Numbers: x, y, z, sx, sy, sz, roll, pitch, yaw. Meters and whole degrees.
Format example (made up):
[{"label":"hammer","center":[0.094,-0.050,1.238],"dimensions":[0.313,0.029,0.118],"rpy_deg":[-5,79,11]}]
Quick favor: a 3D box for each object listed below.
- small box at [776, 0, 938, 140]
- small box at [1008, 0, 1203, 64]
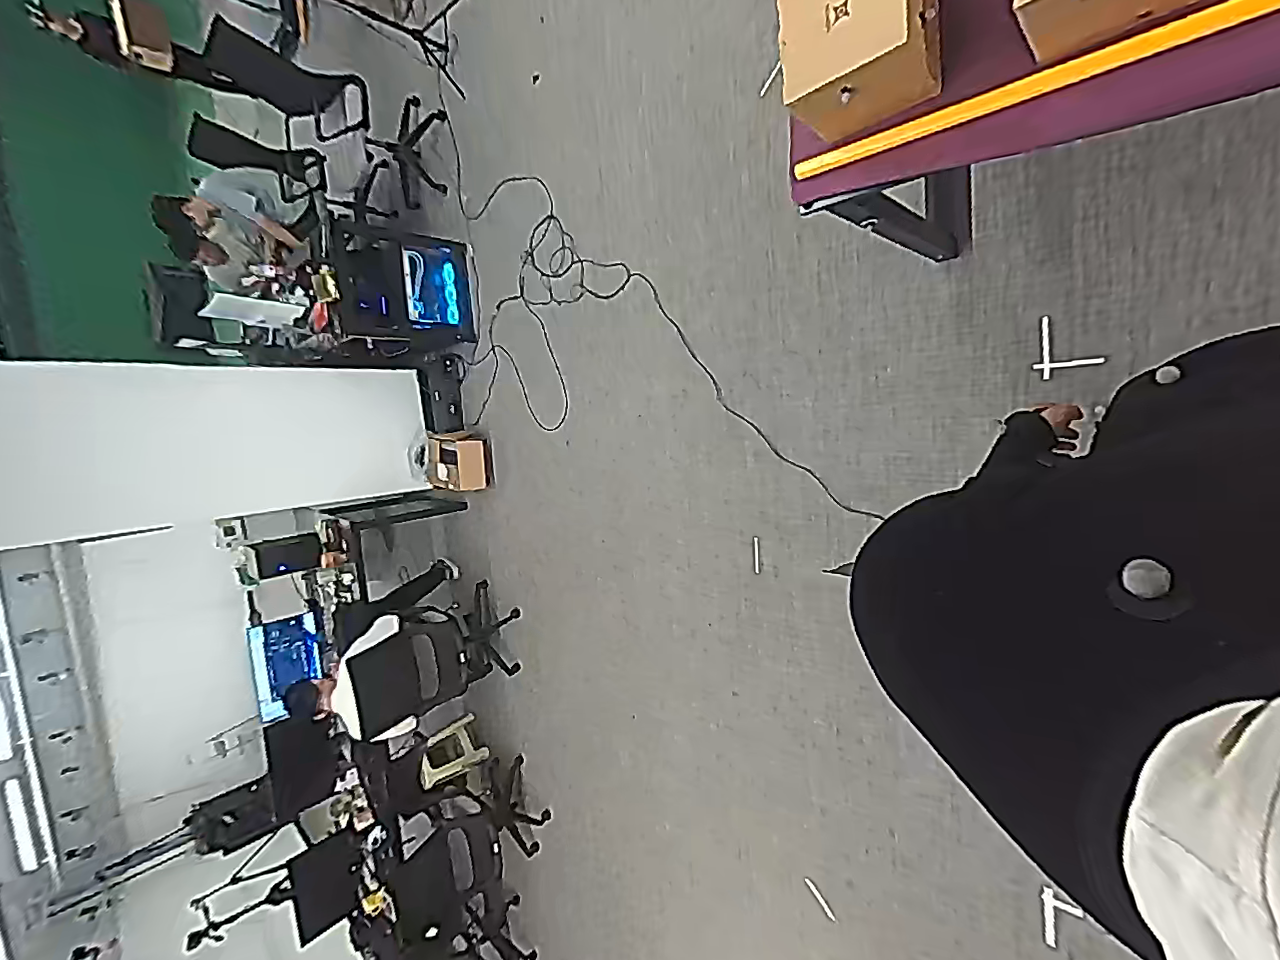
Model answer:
[{"label":"small box","center":[0.320,-0.635,0.785],"dimensions":[0.179,0.176,0.168],"rpy_deg":[0,98,45]},{"label":"small box","center":[0.518,-0.613,0.589],"dimensions":[0.168,0.176,0.179],"rpy_deg":[3,99,46]}]
